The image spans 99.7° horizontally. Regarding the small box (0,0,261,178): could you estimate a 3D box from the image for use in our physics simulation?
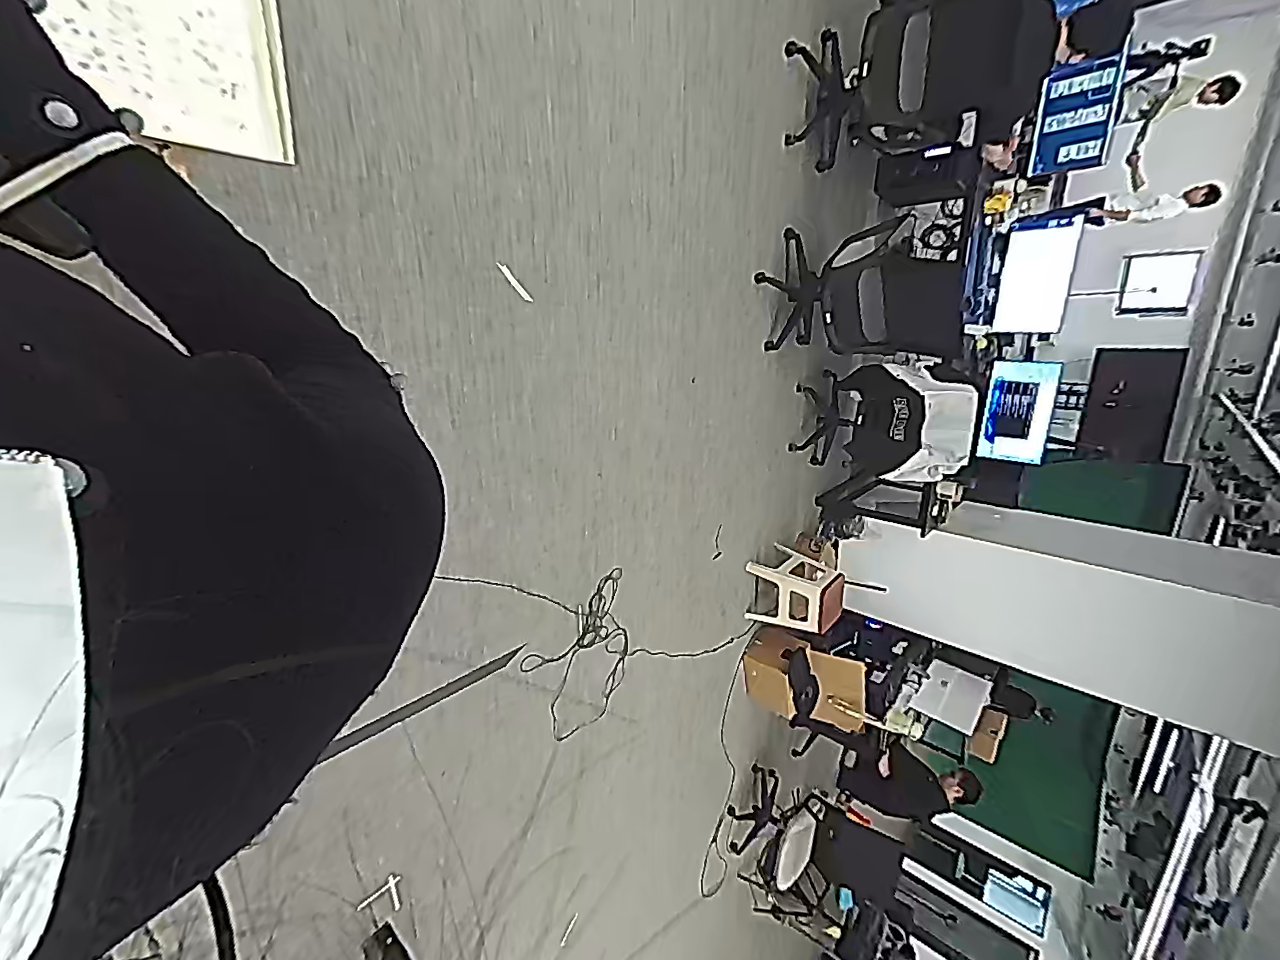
[{"bbox_3d":[-0.515,-0.426,0.543,0.168,0.176,0.179,-17,115,-48],"label":"small box"}]
